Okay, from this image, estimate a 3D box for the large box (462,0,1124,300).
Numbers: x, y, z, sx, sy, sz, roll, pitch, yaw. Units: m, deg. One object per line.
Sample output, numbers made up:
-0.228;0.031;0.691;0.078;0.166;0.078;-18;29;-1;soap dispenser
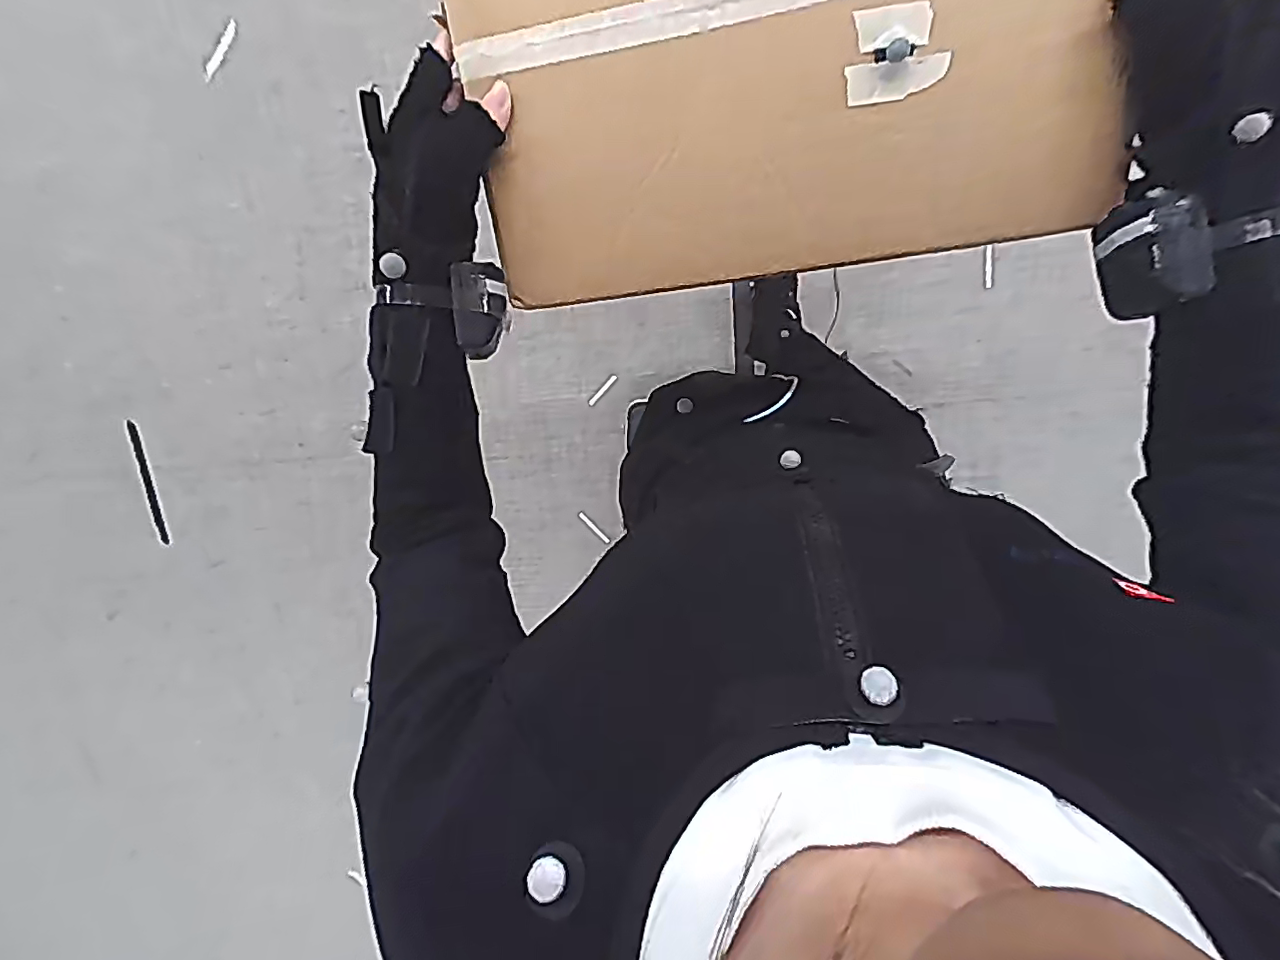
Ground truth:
0.099;-0.353;0.474;0.408;0.320;0.320;-5;110;9;large box
